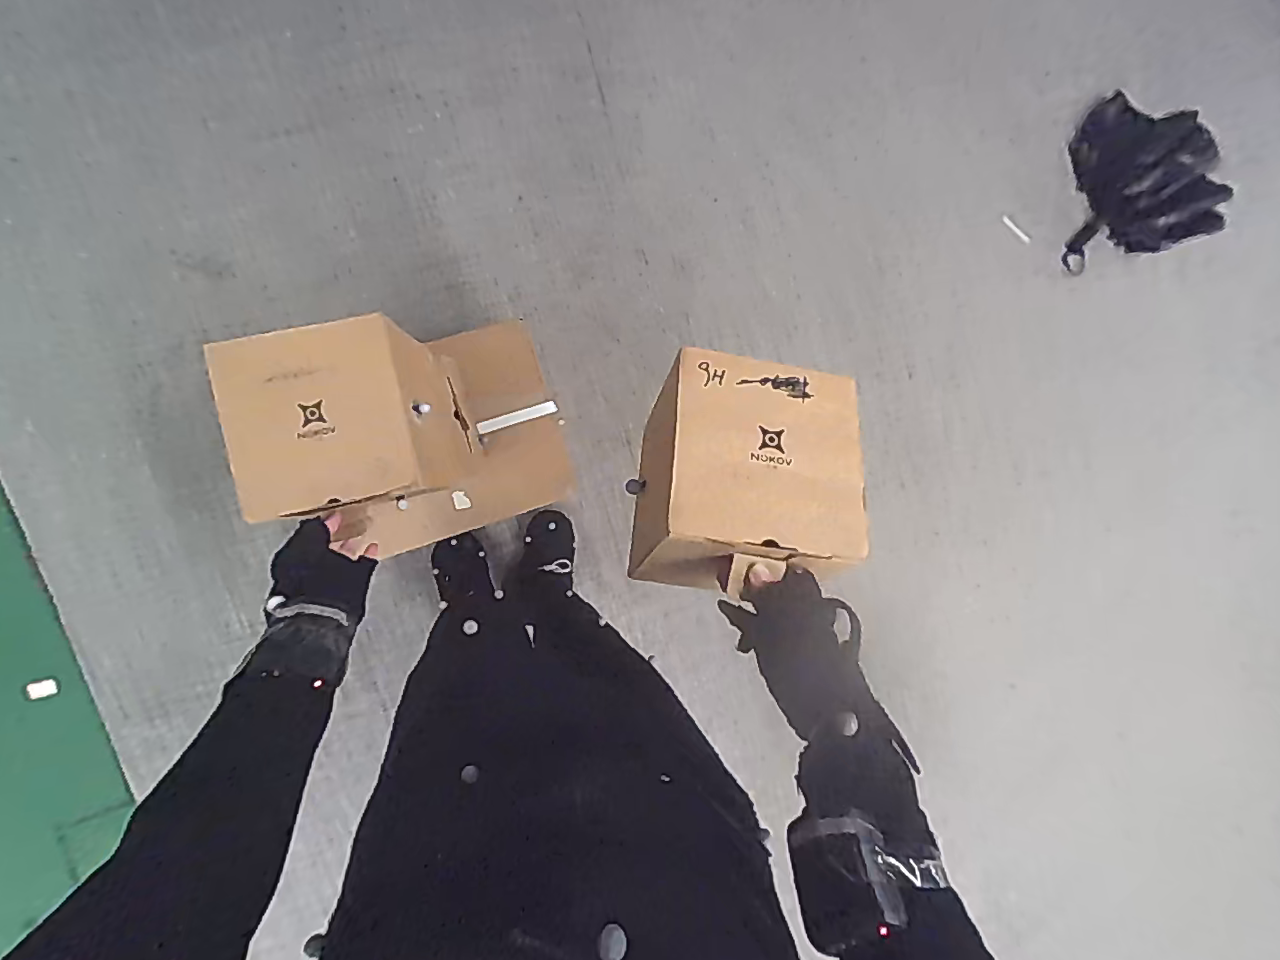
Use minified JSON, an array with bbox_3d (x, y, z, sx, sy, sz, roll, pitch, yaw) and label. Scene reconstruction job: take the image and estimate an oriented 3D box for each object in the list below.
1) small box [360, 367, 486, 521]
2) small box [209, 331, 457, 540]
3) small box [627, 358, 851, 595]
[{"bbox_3d":[-0.335,-0.062,0.786,0.179,0.176,0.168,-20,104,-9],"label":"small box"},{"bbox_3d":[-0.318,-0.044,0.599,0.168,0.176,0.179,-13,90,-5],"label":"small box"},{"bbox_3d":[0.084,0.011,0.529,0.168,0.176,0.179,8,68,-8],"label":"small box"}]
